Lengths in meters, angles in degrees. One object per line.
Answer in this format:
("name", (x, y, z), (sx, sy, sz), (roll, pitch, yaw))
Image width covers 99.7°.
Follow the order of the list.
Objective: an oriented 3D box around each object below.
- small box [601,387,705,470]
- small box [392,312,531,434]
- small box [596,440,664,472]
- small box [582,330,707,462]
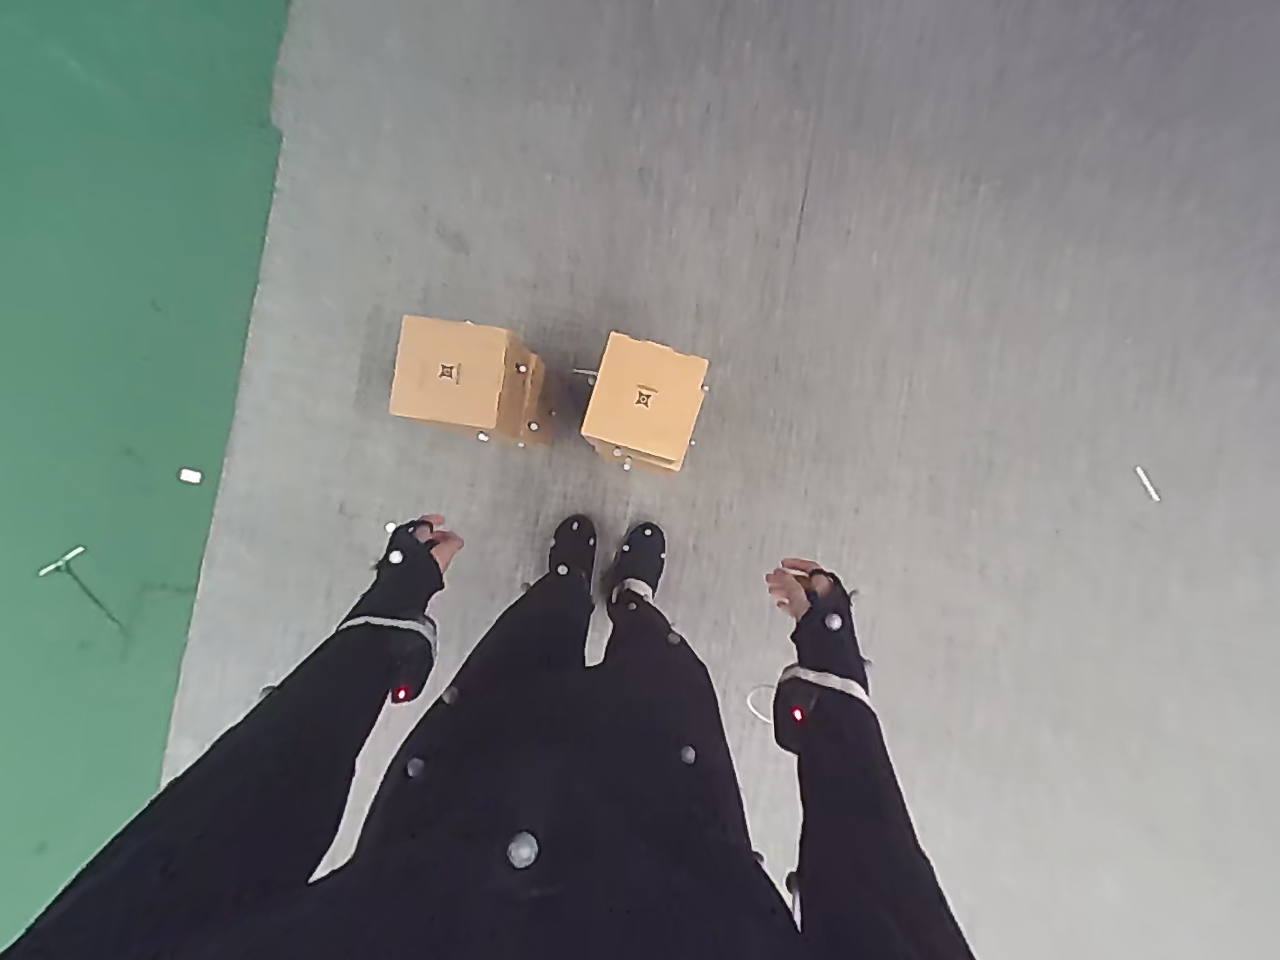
("small box", (0.019, -0.123, 1.112), (0.179, 0.176, 0.168), (19, 89, 2))
("small box", (-0.300, -0.177, 0.948), (0.179, 0.176, 0.168), (9, 89, 2))
("small box", (0.004, -0.127, 1.276), (0.168, 0.176, 0.179), (19, 90, 1))
("small box", (0.009, -0.136, 0.950), (0.168, 0.176, 0.179), (16, 88, 1))
